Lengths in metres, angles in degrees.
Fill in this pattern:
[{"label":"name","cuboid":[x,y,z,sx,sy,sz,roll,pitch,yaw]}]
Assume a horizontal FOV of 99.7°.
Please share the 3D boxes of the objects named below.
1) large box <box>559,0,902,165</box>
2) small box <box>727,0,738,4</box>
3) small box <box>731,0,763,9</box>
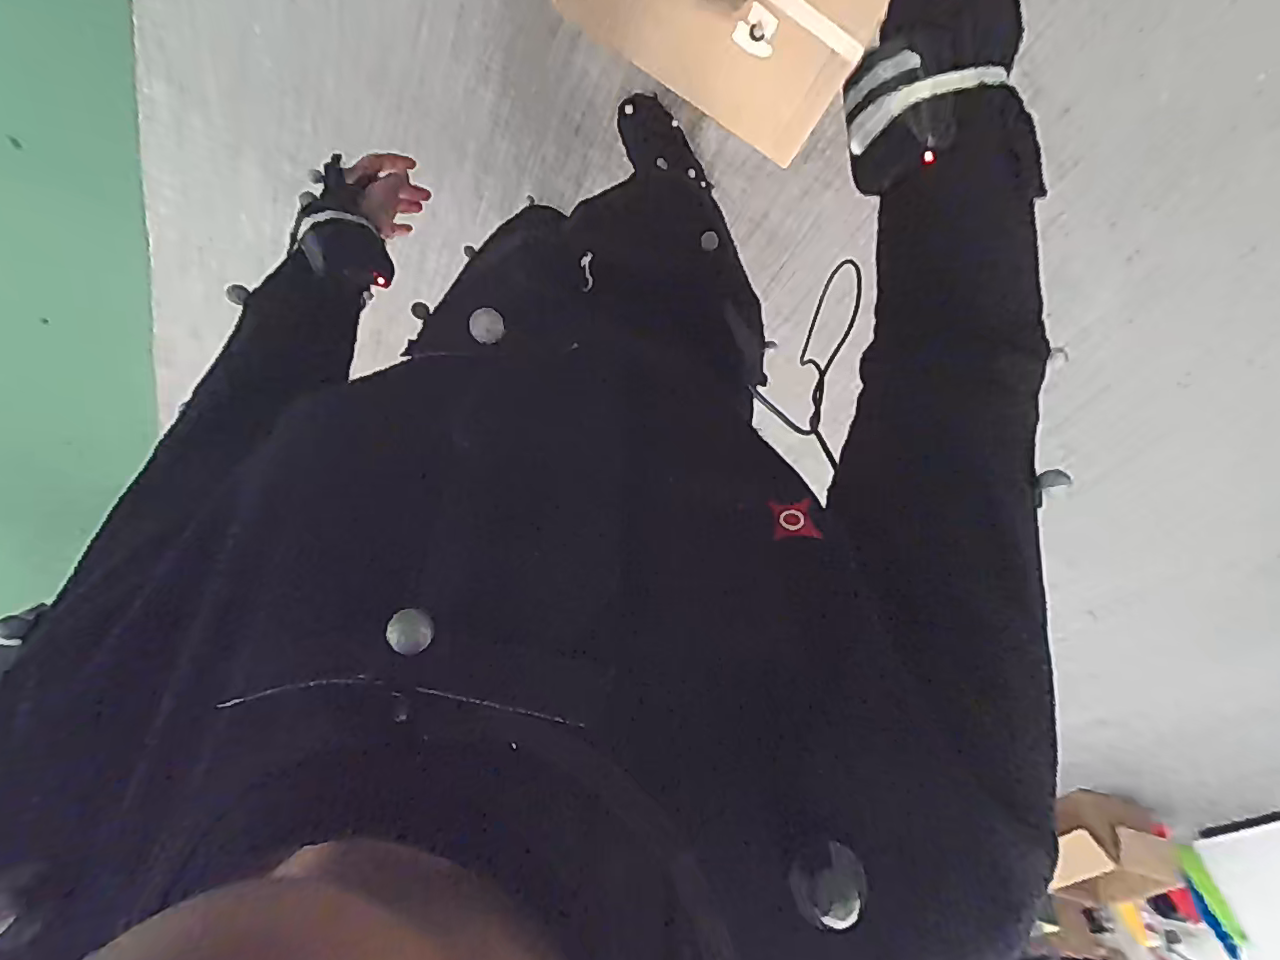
[{"label":"large box","cuboid":[0.144,-0.750,0.799,0.408,0.320,0.320,26,129,-14]},{"label":"small box","cuboid":[0.086,-0.543,0.450,0.179,0.176,0.168,34,125,-20]},{"label":"small box","cuboid":[0.066,-0.438,0.327,0.179,0.176,0.168,36,123,-20]}]
